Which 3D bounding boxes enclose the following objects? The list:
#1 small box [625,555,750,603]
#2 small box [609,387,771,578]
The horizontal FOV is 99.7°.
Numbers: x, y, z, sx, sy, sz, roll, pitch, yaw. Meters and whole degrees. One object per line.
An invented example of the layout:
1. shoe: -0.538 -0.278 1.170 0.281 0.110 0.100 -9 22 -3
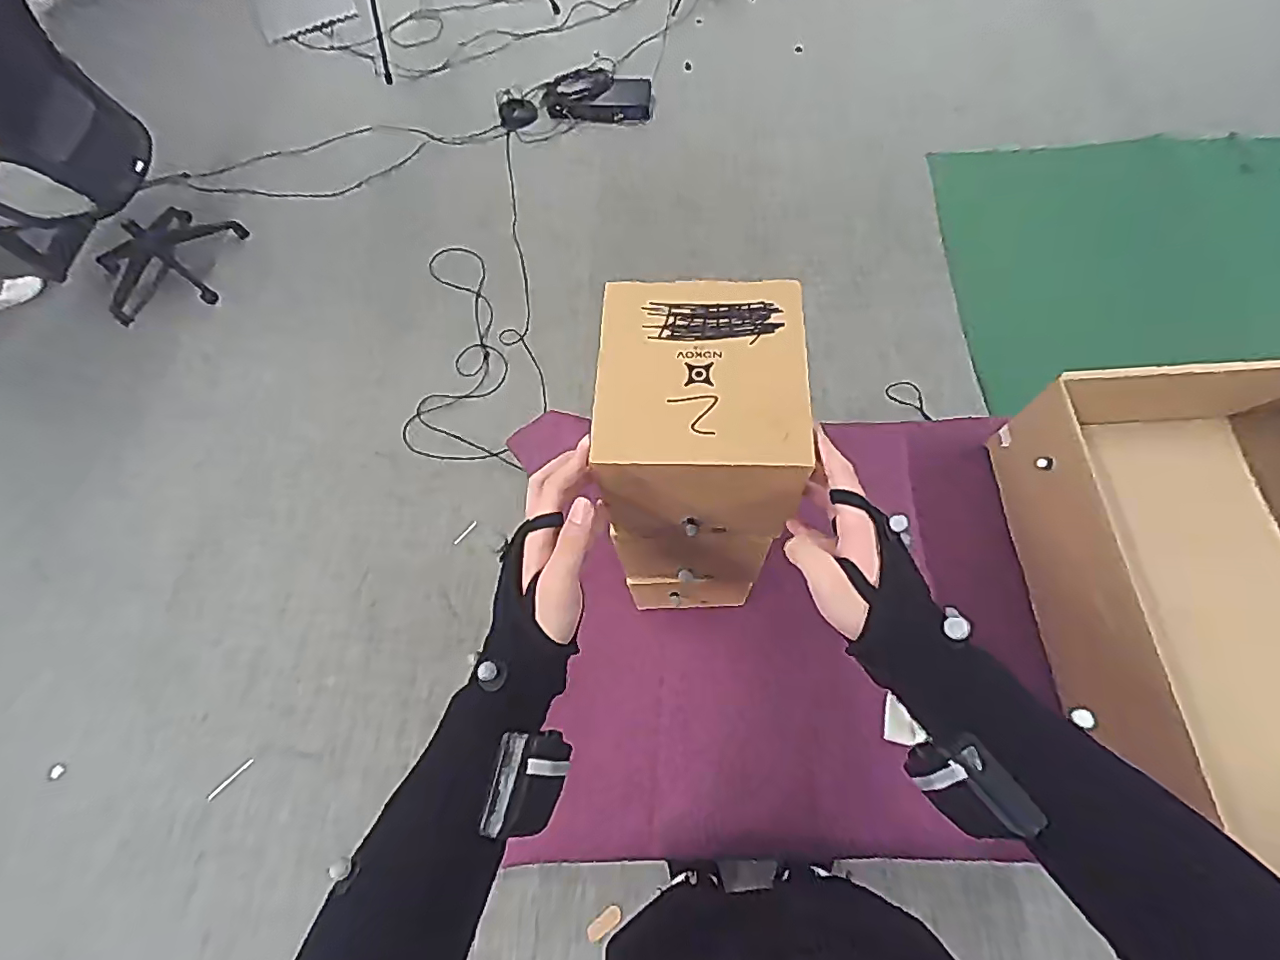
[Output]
1. small box: 0.069 0.080 0.796 0.168 0.176 0.179 -3 64 4
2. small box: 0.061 0.008 0.648 0.168 0.176 0.179 1 65 6
